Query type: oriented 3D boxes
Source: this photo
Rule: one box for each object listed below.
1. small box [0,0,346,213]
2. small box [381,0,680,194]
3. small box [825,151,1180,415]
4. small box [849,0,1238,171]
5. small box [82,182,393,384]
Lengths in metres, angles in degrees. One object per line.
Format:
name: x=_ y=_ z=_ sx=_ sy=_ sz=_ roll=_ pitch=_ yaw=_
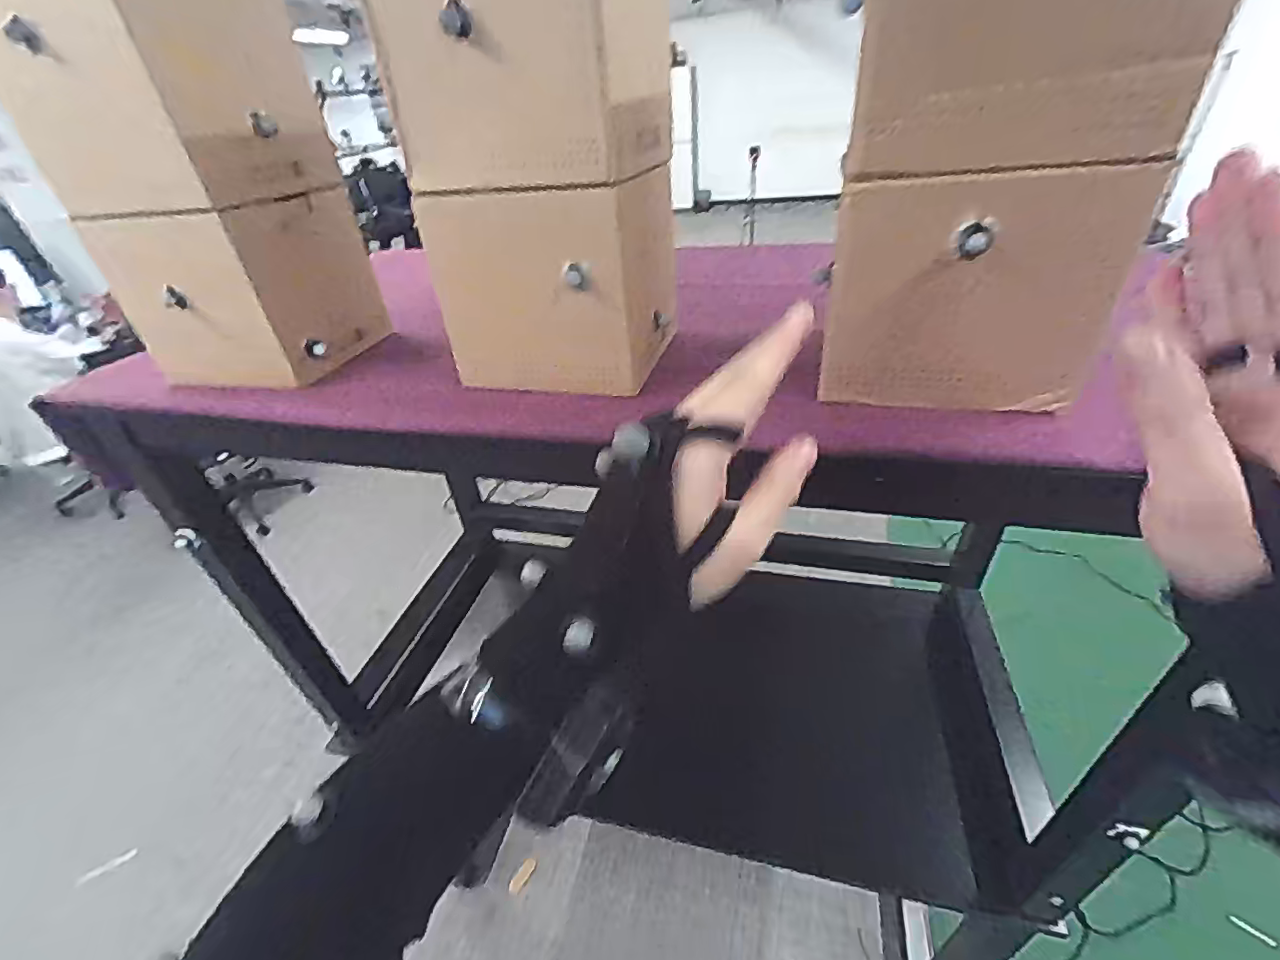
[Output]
small box: x=-0.418 y=-0.347 z=0.492 sx=0.179 sy=0.176 sz=0.168 roll=5 pitch=37 yaw=14
small box: x=-0.074 y=-0.327 z=0.416 sx=0.179 sy=0.176 sz=0.168 roll=6 pitch=37 yaw=17
small box: x=0.246 y=-0.164 z=0.425 sx=0.179 sy=0.176 sz=0.168 roll=7 pitch=39 yaw=17
small box: x=0.230 y=-0.293 z=0.330 sx=0.179 sy=0.176 sz=0.168 roll=8 pitch=40 yaw=18
small box: x=-0.407 y=-0.213 z=0.586 sx=0.179 sy=0.176 sz=0.168 roll=3 pitch=36 yaw=14
